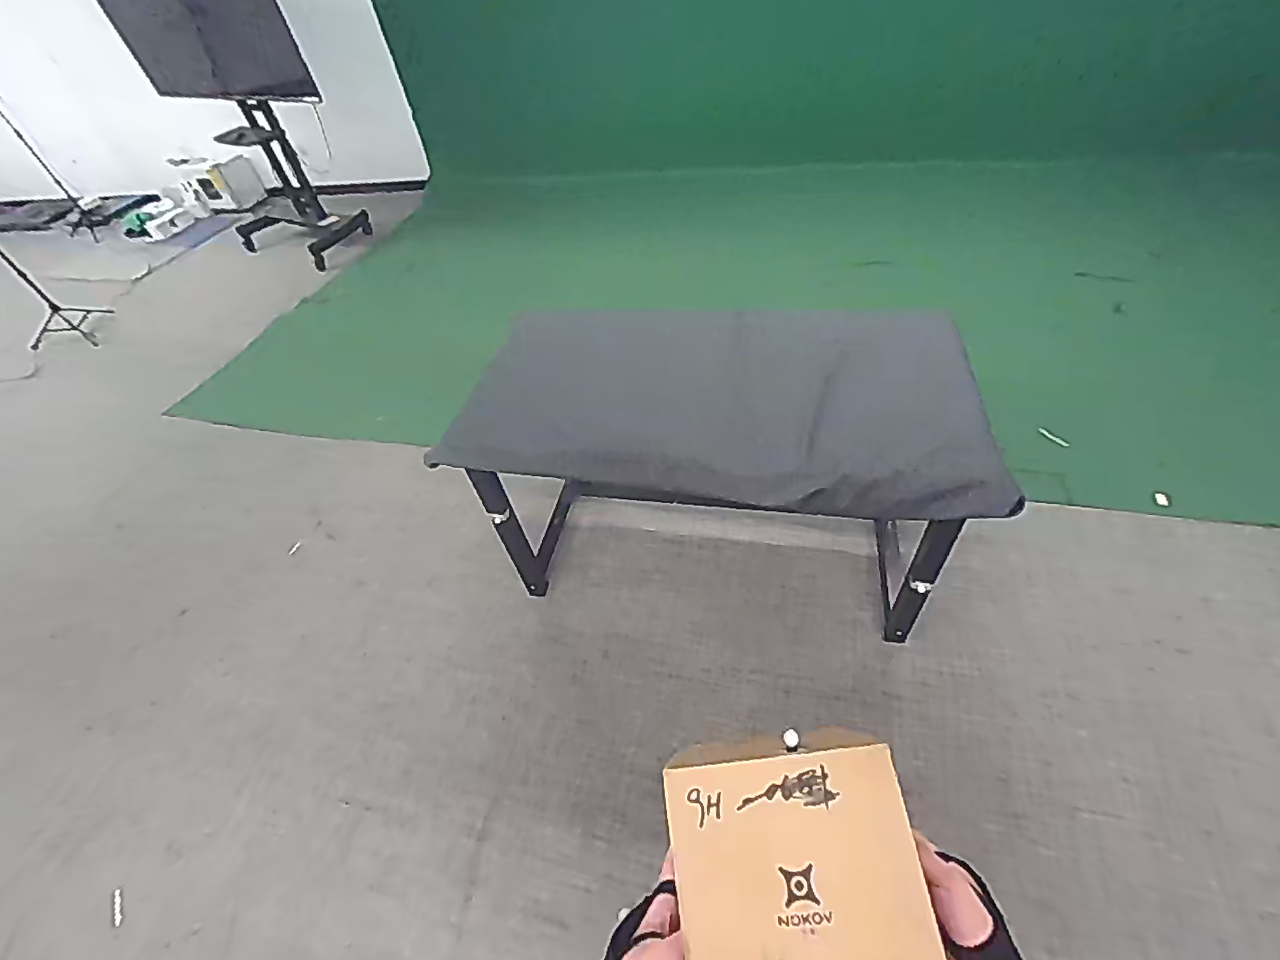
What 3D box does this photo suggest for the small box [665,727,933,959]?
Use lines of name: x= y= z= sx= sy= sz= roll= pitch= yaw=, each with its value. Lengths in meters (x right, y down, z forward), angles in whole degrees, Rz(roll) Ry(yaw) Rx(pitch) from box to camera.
small box: x=0.119 y=0.315 z=0.447 sx=0.168 sy=0.176 sz=0.179 roll=-9 pitch=69 yaw=5
